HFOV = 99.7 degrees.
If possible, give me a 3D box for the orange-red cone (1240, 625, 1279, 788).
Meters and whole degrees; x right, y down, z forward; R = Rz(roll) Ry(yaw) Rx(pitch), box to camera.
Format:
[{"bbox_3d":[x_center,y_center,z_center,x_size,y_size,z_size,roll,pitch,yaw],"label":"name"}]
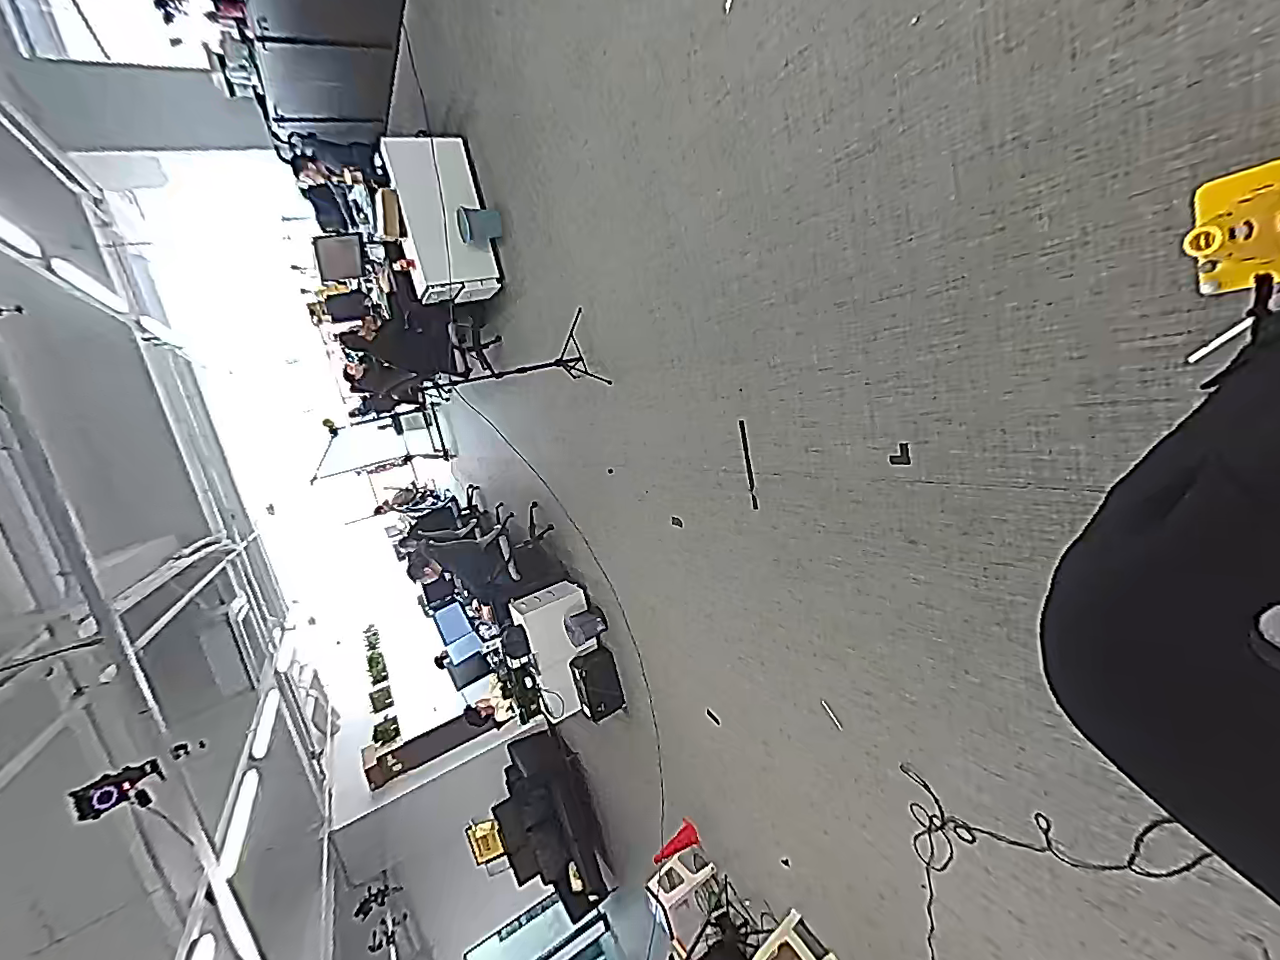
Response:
[{"bbox_3d":[1.154,0.438,0.957,0.199,0.360,0.198,17,120,59],"label":"orange-red cone"}]
